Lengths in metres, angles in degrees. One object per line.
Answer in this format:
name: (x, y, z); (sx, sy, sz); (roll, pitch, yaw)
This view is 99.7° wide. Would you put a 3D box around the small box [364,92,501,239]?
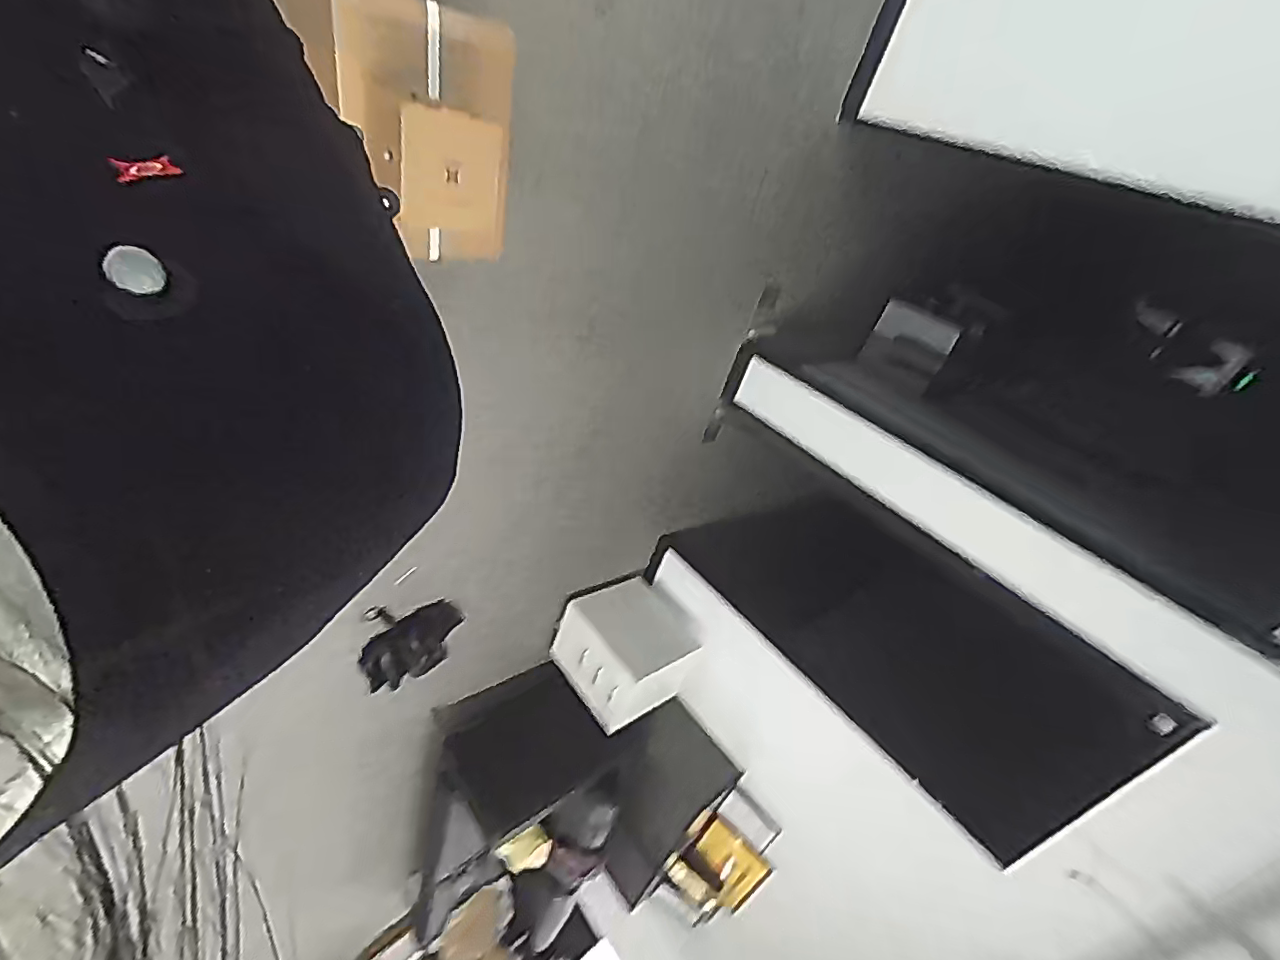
small box: (-0.359, -0.535, 0.925); (0.168, 0.176, 0.179); (-15, 136, -39)
